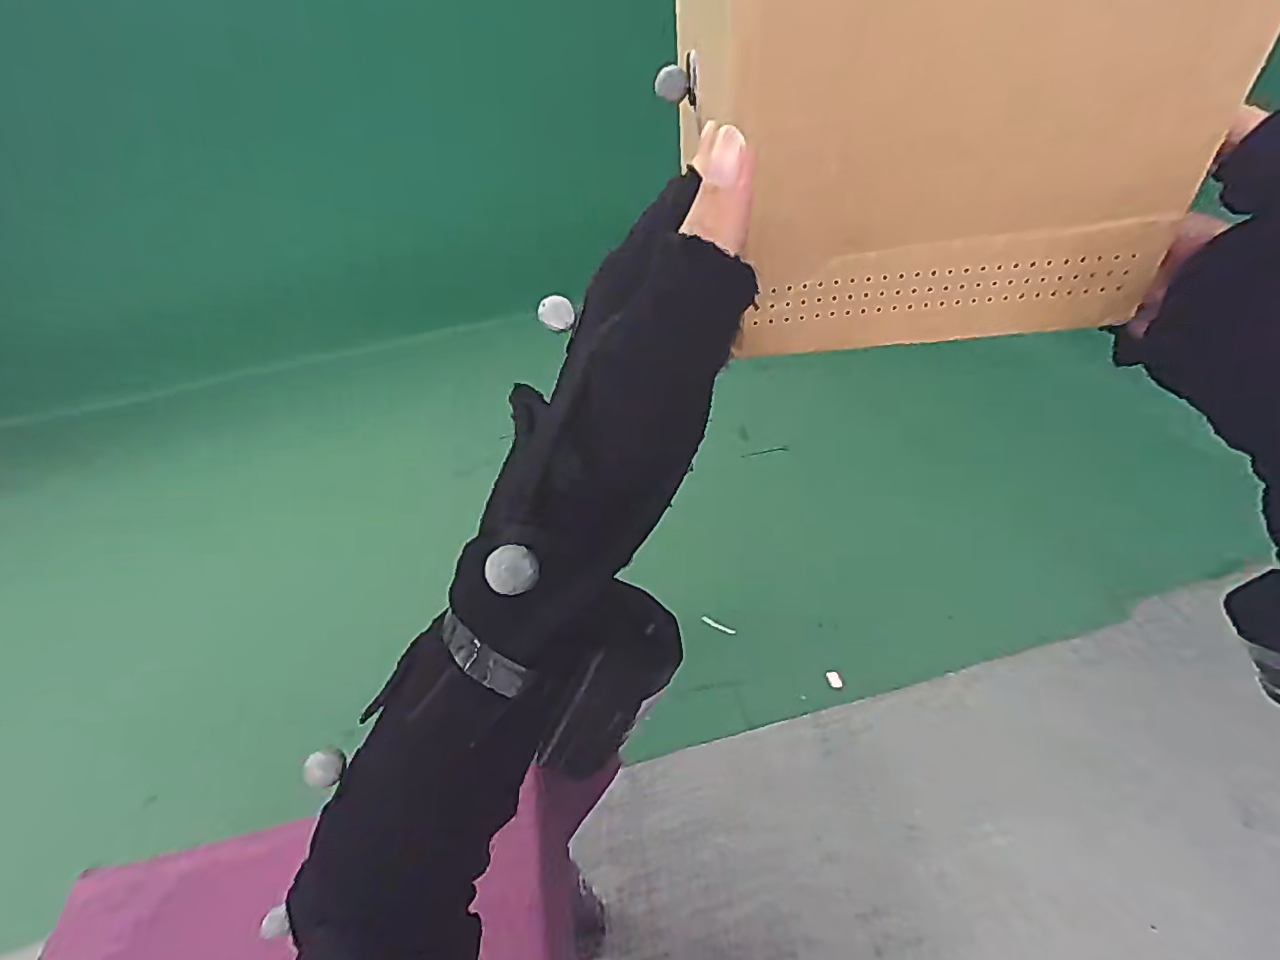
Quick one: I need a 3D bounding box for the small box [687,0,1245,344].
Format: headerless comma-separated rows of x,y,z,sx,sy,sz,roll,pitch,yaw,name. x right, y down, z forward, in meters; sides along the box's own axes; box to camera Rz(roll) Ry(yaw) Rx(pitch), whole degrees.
0.115,-0.173,0.248,0.179,0.176,0.168,-4,40,2,small box
